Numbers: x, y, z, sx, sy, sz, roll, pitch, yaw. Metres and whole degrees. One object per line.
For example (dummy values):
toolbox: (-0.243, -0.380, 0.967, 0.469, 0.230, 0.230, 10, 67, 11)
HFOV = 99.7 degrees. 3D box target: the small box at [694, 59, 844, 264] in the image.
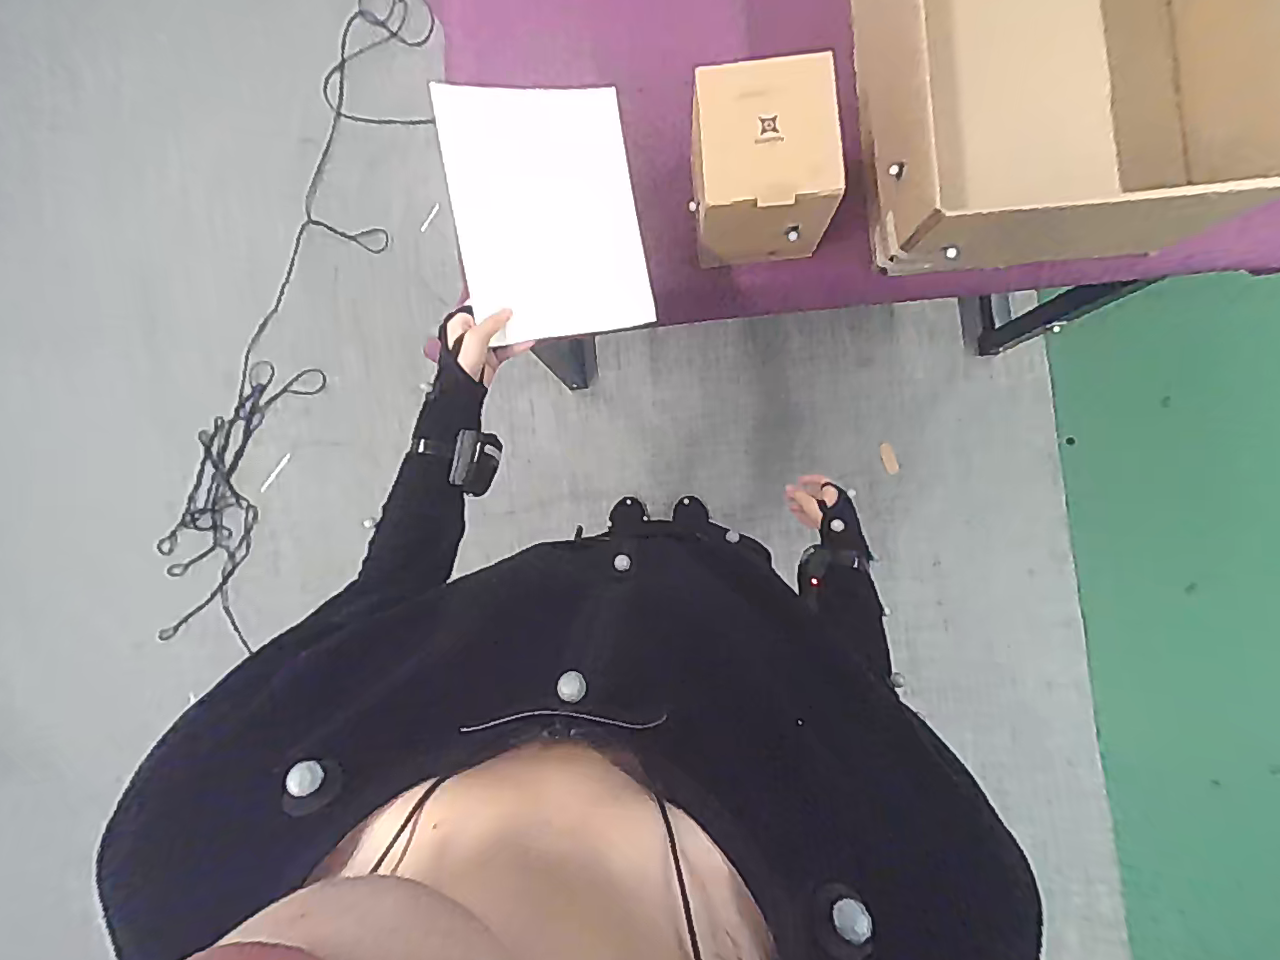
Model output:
small box: (0.160, -0.405, 0.721, 0.168, 0.176, 0.179, -4, 86, 3)
